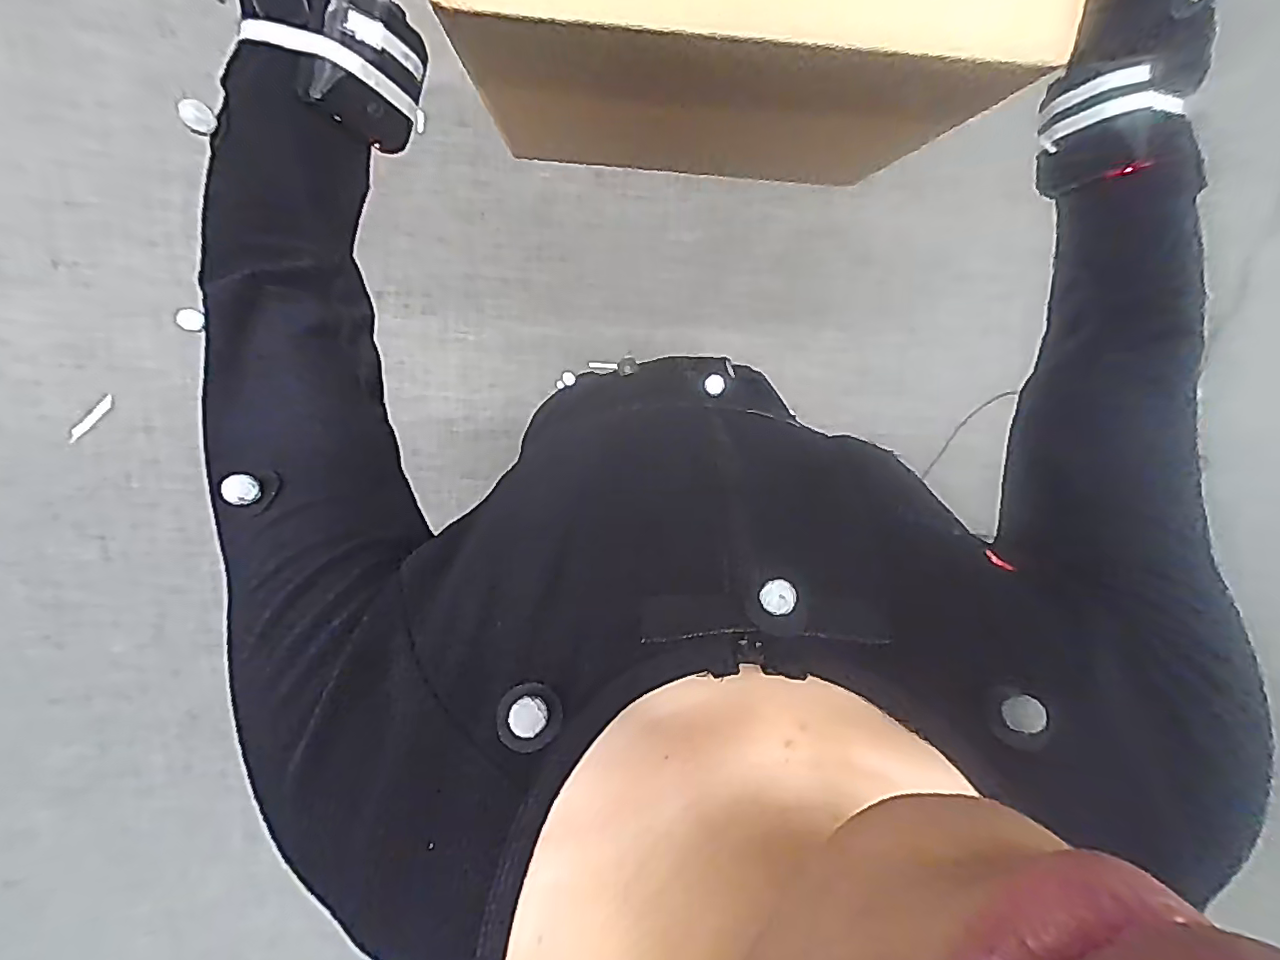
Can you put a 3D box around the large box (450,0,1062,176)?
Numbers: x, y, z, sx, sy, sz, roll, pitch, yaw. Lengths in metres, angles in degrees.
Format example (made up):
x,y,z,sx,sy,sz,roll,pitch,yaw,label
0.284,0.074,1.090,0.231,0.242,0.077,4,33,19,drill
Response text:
x,y,z,sx,sy,sz,roll,pitch,yaw,label
0.070,-0.471,0.449,0.408,0.320,0.320,1,106,-5,large box
